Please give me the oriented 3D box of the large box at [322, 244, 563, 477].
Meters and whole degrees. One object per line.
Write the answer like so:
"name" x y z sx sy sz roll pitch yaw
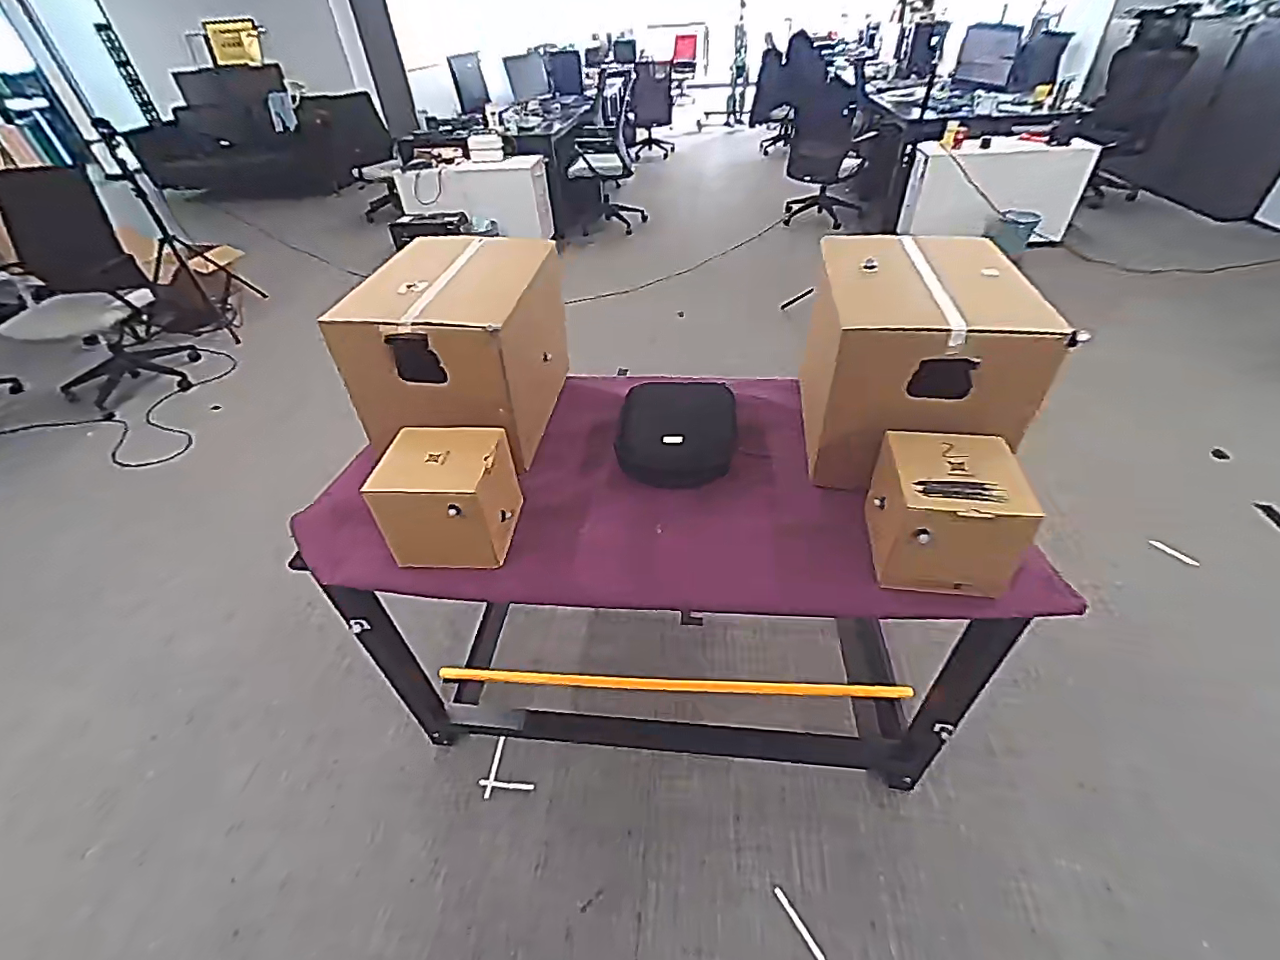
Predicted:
"large box" -0.356 -0.257 1.120 0.320 0.320 0.408 3 44 5

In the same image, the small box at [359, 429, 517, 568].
"small box" -0.318 0.031 0.894 0.179 0.176 0.168 0 40 3
